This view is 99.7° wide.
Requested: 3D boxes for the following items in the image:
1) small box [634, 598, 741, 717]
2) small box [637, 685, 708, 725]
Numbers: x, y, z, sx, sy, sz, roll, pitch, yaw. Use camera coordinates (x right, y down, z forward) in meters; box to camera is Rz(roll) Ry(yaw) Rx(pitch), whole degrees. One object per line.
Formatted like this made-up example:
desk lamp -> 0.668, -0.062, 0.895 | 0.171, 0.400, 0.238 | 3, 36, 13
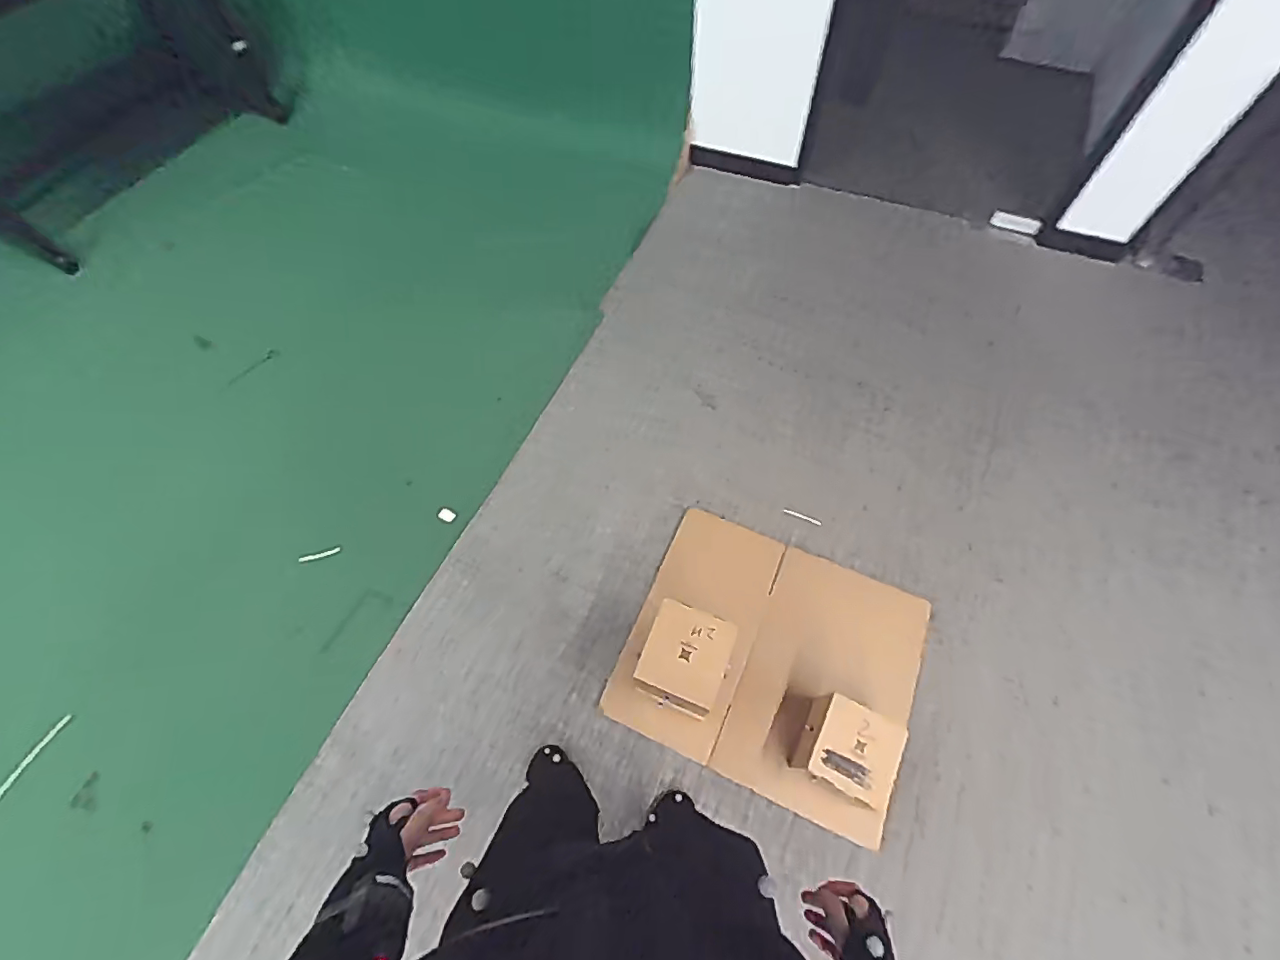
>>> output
small box -> 0.099, 0.380, 1.138 | 0.168, 0.176, 0.179 | 21, 64, 12
small box -> 0.104, 0.462, 1.281 | 0.168, 0.176, 0.179 | 20, 64, 12
